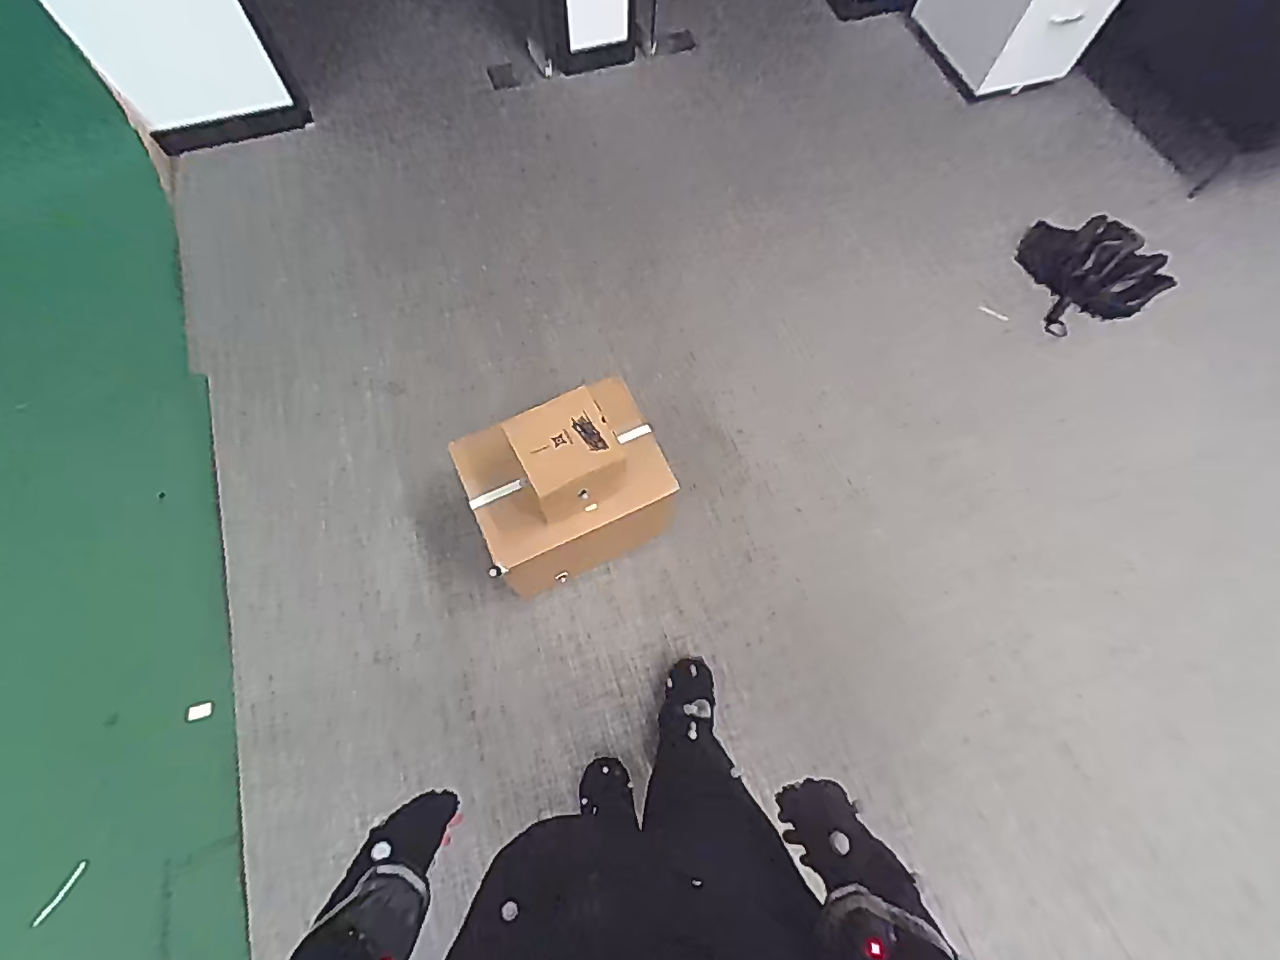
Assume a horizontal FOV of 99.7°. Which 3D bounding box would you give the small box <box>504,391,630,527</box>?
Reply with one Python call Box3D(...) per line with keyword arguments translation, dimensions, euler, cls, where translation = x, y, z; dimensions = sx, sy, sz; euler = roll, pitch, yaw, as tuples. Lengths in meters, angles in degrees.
Box3D(translation=(-0.138, -0.035, 1.040), dimensions=(0.179, 0.176, 0.168), euler=(-29, 73, -14), cls="small box")
